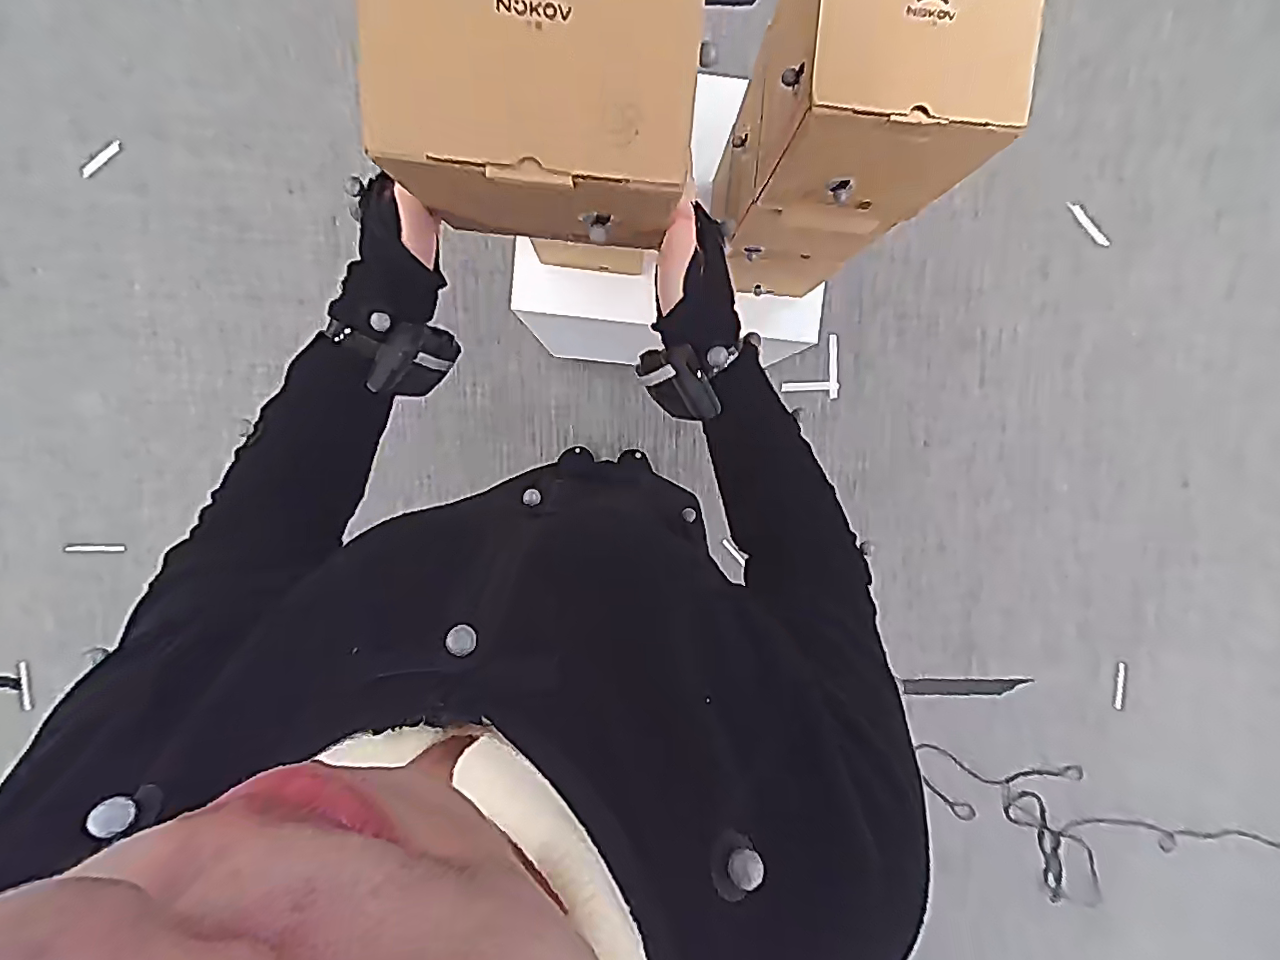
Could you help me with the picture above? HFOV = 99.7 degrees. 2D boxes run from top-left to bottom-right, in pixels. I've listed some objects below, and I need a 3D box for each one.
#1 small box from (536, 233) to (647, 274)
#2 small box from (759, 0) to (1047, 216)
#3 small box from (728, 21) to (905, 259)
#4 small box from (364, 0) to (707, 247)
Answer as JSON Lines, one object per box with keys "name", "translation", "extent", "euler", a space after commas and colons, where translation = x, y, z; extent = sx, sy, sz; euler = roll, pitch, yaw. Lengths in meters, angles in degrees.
{"name": "small box", "translation": [-0.063, -0.419, 0.779], "extent": [0.168, 0.176, 0.179], "euler": [6, 94, -3]}
{"name": "small box", "translation": [0.208, -0.356, 0.466], "extent": [0.168, 0.176, 0.179], "euler": [4, 96, -2]}
{"name": "small box", "translation": [0.202, -0.373, 0.627], "extent": [0.168, 0.176, 0.179], "euler": [4, 95, -2]}
{"name": "small box", "translation": [-0.052, -0.256, 0.336], "extent": [0.168, 0.176, 0.179], "euler": [4, 103, -5]}
